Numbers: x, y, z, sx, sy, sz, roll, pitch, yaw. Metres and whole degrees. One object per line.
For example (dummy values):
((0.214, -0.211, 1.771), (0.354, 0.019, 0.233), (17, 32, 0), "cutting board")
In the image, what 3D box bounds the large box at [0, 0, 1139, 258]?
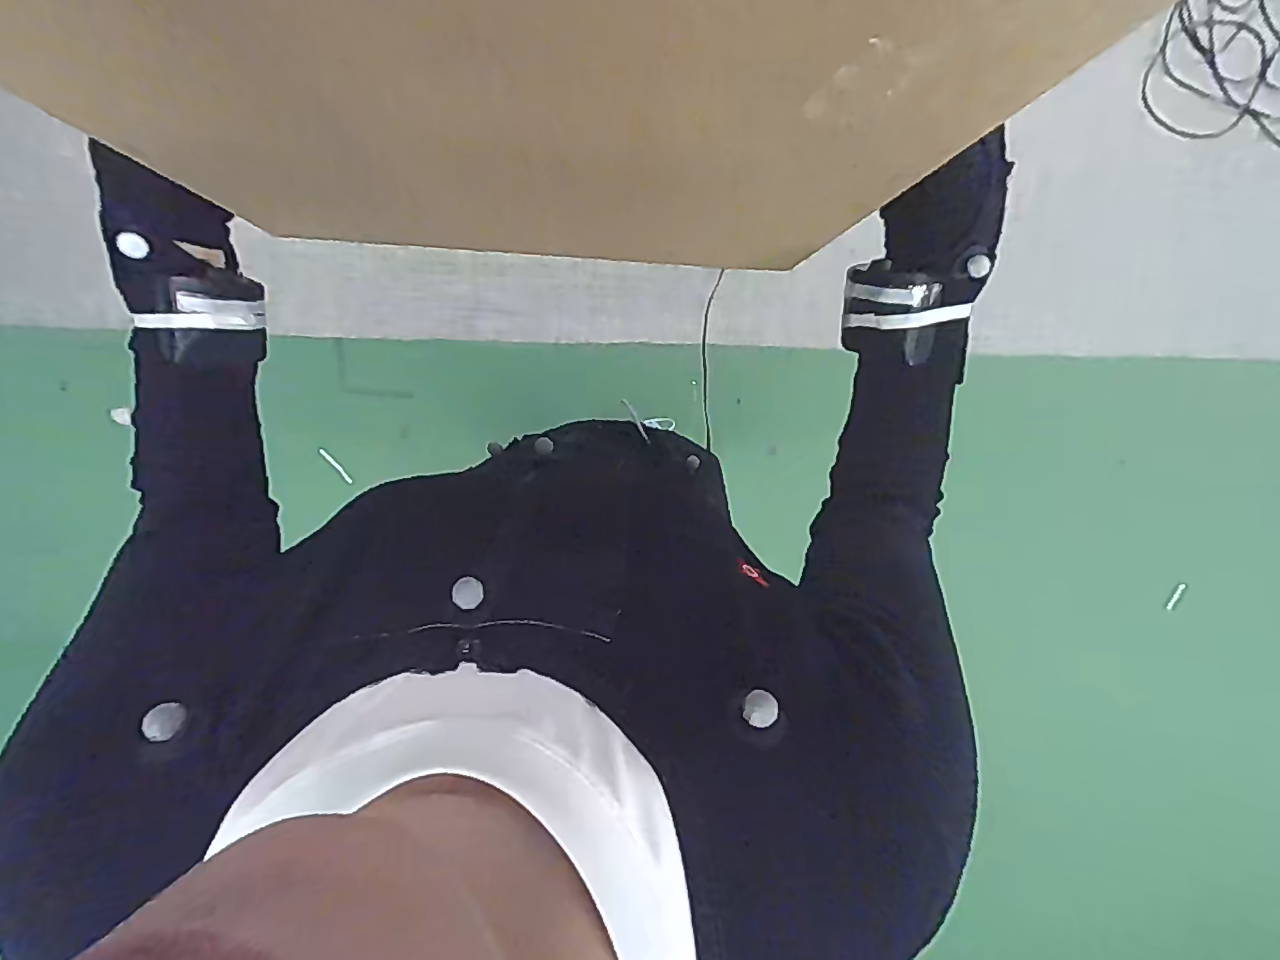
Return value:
((-0.047, -0.316, 0.258), (0.408, 0.320, 0.320), (2, 98, -6), "large box")
